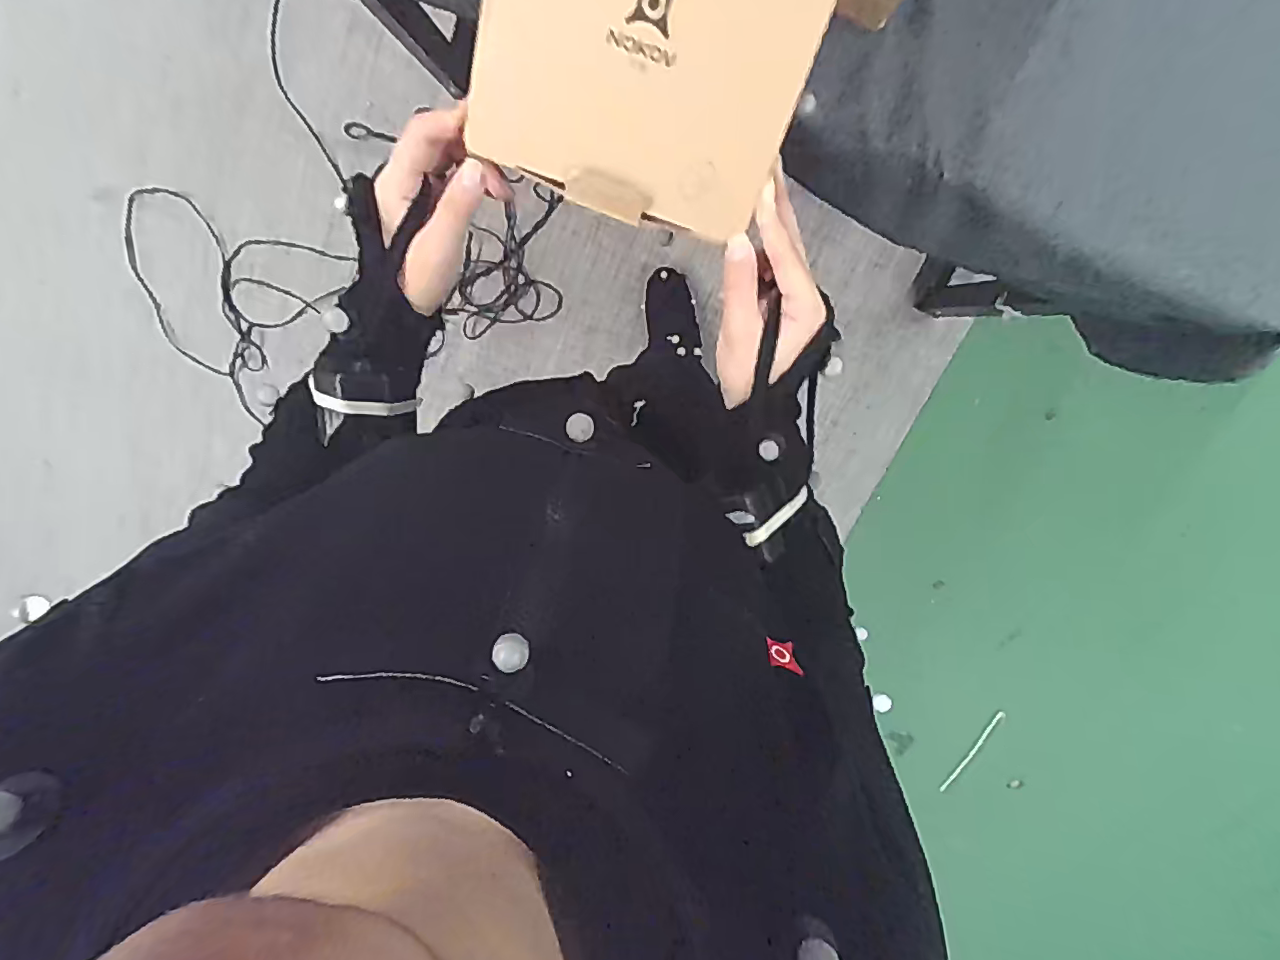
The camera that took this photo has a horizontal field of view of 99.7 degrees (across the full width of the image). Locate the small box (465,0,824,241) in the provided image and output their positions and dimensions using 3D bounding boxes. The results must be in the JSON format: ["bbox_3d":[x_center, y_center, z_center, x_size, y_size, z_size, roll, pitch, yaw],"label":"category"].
[{"bbox_3d":[0.011,-0.269,0.336,0.168,0.176,0.179,17,117,-4],"label":"small box"}]
